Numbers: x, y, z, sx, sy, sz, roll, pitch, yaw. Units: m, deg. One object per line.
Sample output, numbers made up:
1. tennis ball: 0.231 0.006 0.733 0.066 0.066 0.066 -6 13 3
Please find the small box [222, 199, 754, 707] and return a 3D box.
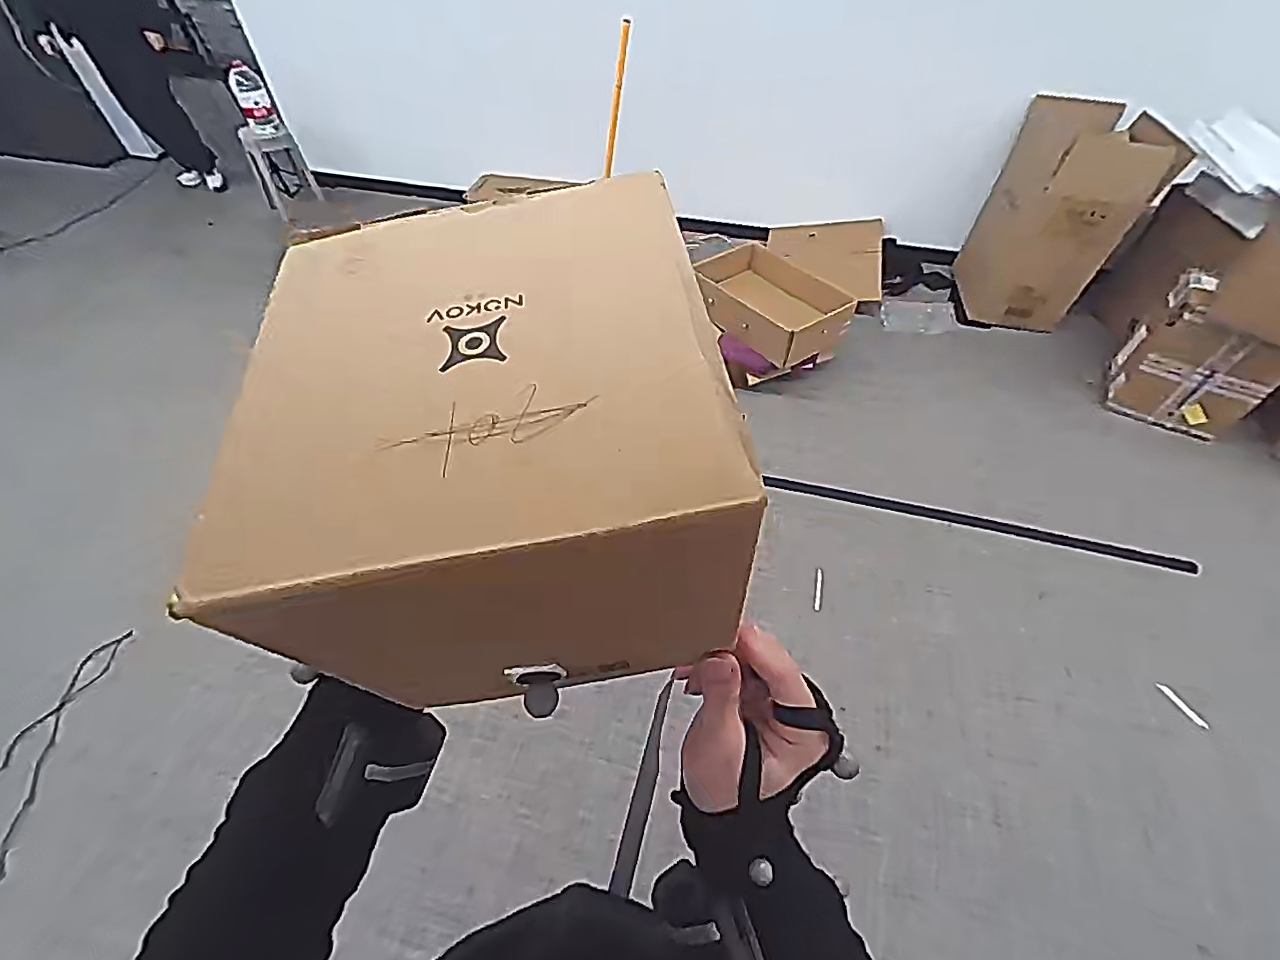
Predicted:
1. small box: -0.050 -0.003 0.273 0.168 0.176 0.179 -11 58 0
